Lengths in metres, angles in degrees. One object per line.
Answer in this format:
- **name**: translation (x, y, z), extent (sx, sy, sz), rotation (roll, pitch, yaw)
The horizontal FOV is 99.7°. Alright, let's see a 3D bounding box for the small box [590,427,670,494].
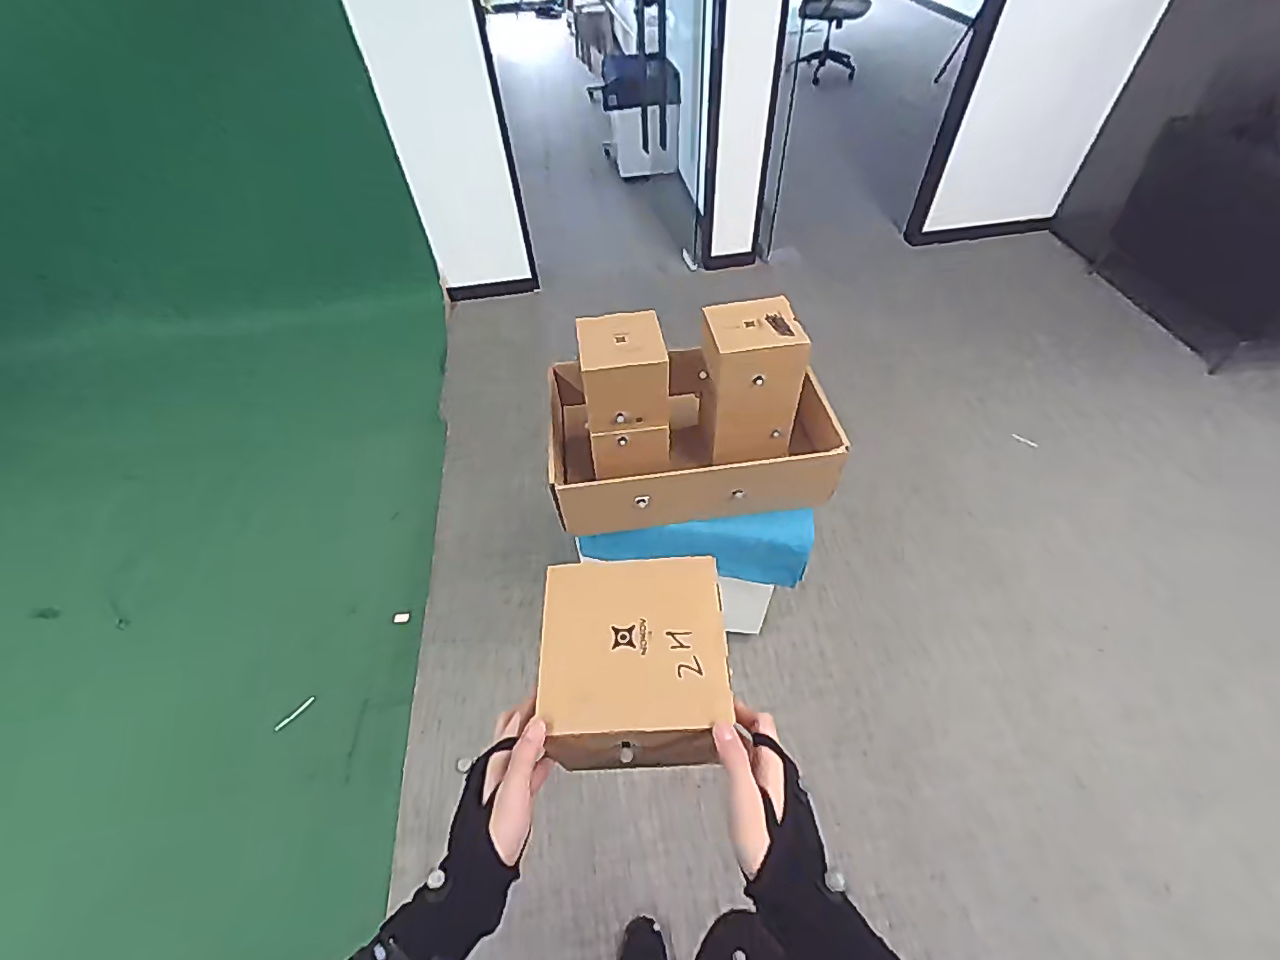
- **small box**: translation (-0.027, -0.092, 1.227), extent (0.168, 0.176, 0.179), rotation (-7, 48, -3)

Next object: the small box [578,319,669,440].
- **small box**: translation (-0.035, -0.205, 1.109), extent (0.168, 0.176, 0.179), rotation (-7, 49, -3)

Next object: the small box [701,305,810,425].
- **small box**: translation (0.228, -0.235, 1.117), extent (0.179, 0.176, 0.168), rotation (-8, 48, -2)

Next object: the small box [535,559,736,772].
- **small box**: translation (0.000, 0.200, 0.568), extent (0.179, 0.176, 0.168), rotation (-3, 52, 2)
